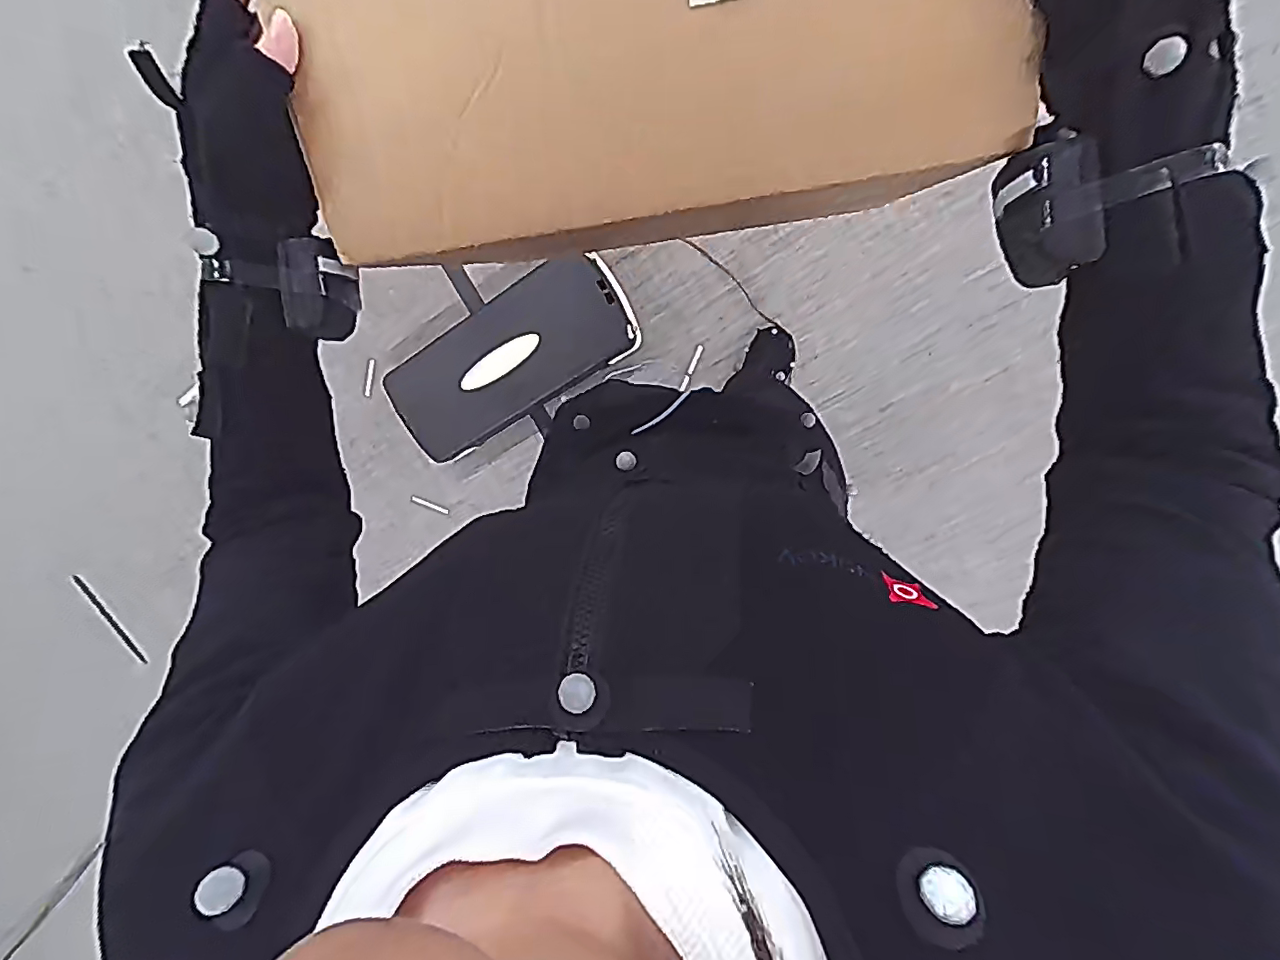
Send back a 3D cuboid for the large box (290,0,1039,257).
[{"bbox_3d":[0.010,-0.365,0.407,0.408,0.320,0.320,-5,112,12],"label":"large box"}]
